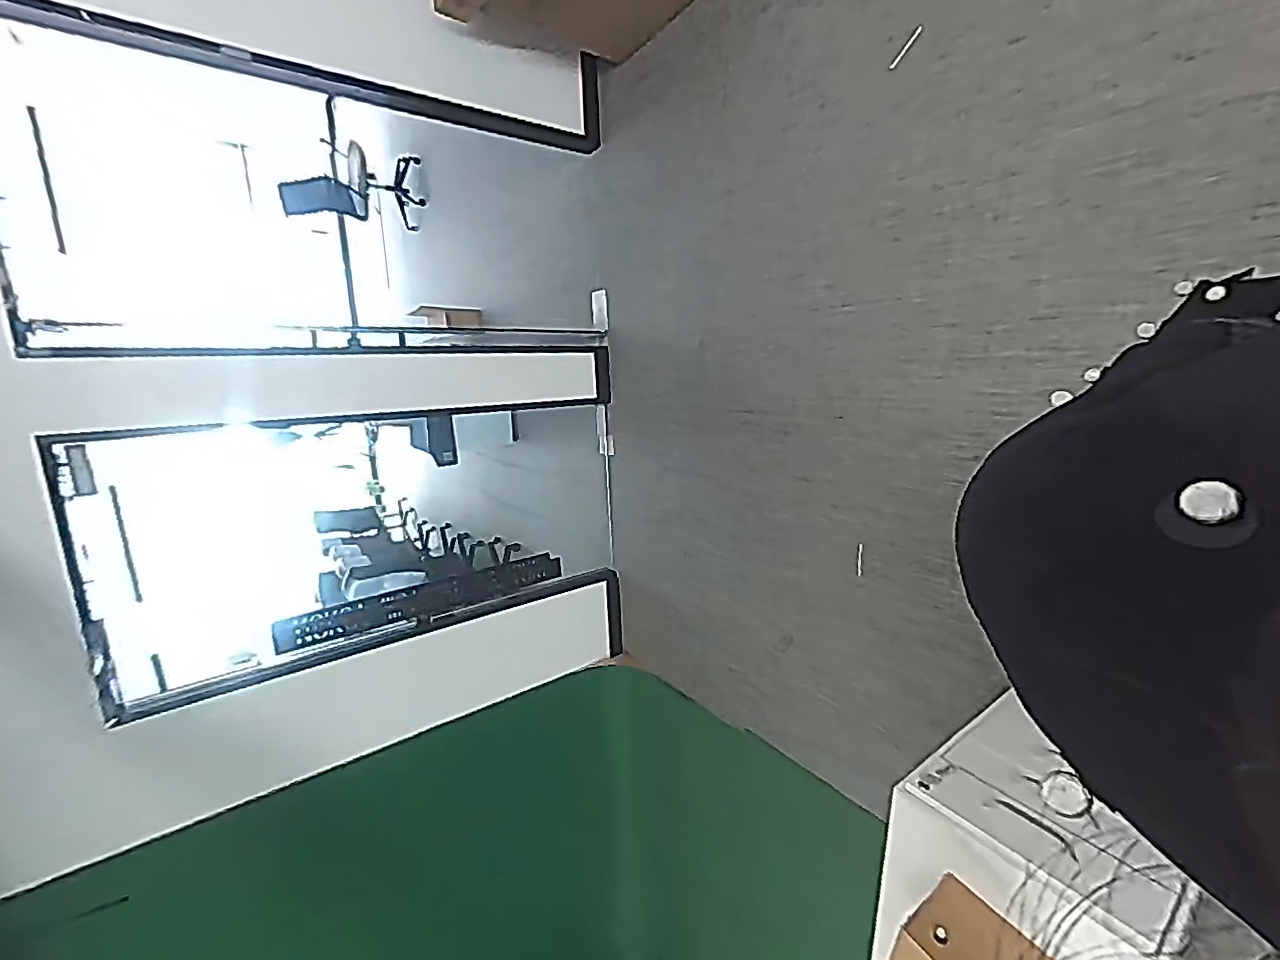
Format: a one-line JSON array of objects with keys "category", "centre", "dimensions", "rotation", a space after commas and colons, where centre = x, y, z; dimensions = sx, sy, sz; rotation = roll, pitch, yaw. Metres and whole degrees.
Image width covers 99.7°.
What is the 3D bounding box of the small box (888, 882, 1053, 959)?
[{"category": "small box", "centre": [0.542, 0.820, 0.899], "dimensions": [0.179, 0.176, 0.168], "rotation": [29, 121, 49]}]
